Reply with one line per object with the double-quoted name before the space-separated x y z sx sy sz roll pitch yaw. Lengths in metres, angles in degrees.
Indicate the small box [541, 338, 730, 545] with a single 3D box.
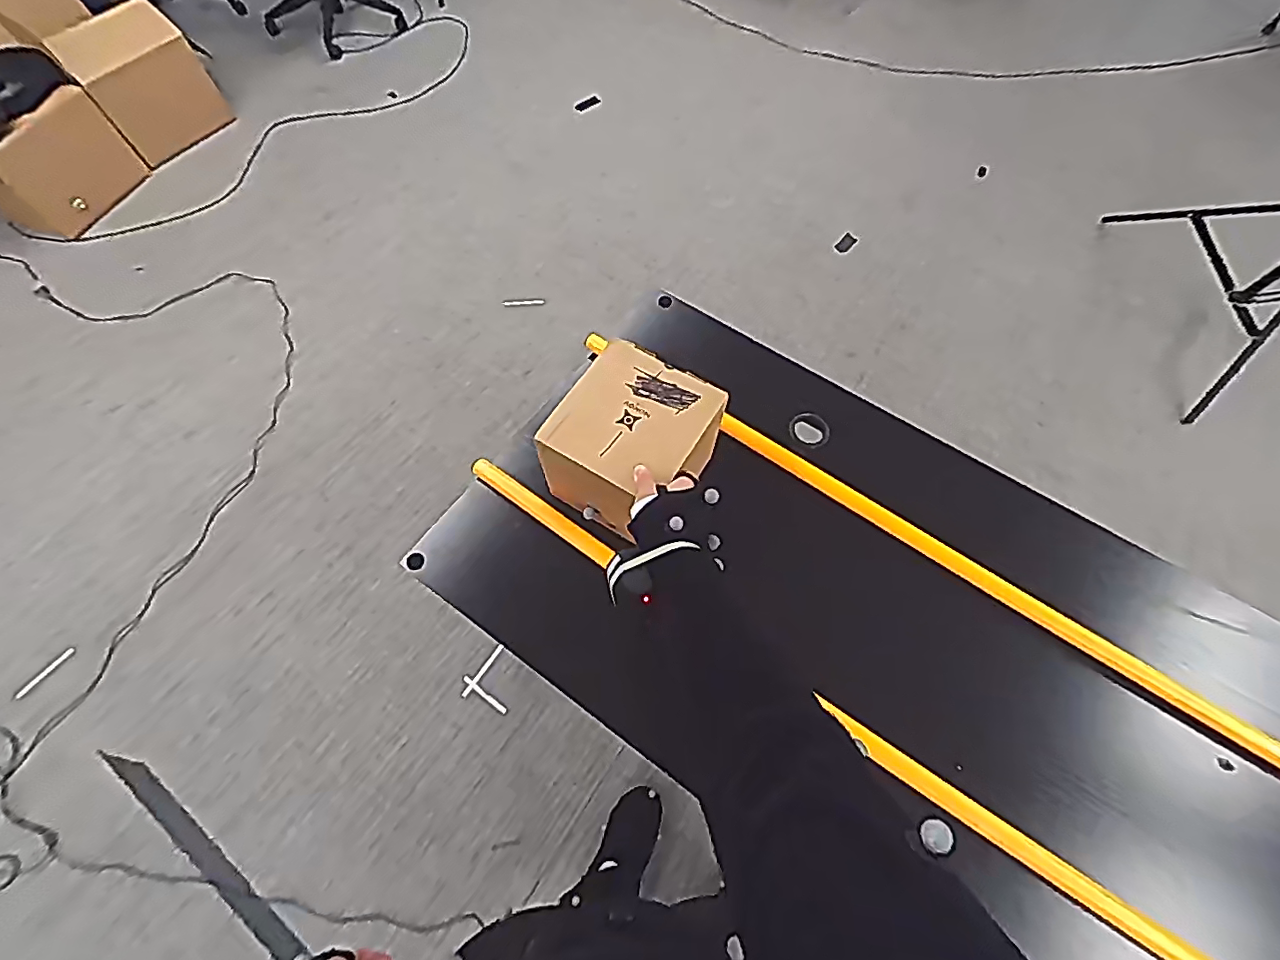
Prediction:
"small box" -0.006 -0.043 0.709 0.168 0.176 0.179 30 69 12
